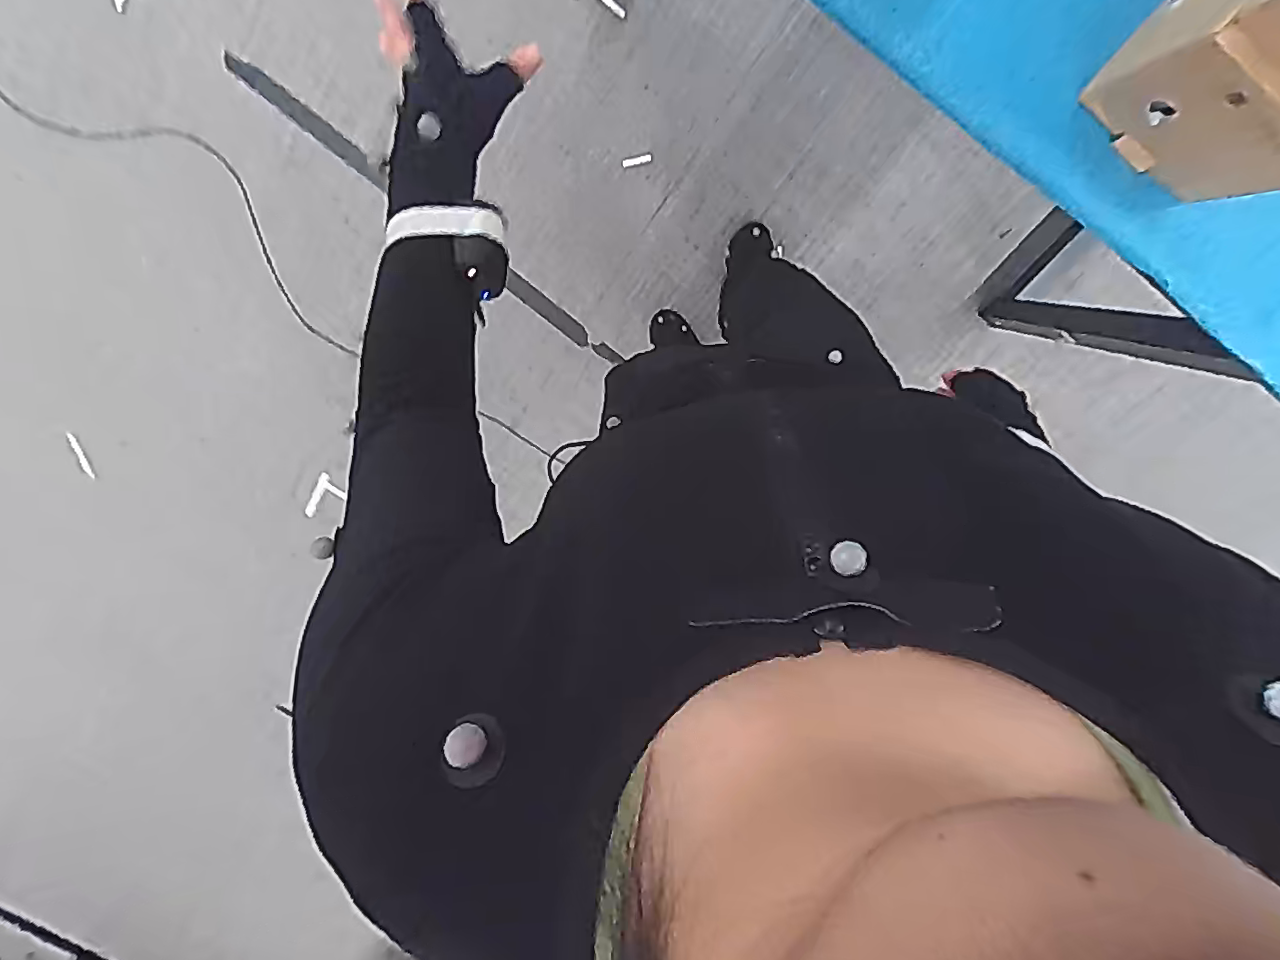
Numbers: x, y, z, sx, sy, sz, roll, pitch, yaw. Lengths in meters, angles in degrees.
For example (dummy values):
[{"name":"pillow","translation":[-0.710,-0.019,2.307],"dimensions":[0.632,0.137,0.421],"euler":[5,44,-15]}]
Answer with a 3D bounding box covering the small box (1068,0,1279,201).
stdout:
[{"name":"small box","translation":[0.540,-0.374,0.456],"dimensions":[0.168,0.176,0.179],"euler":[35,111,-8]}]
